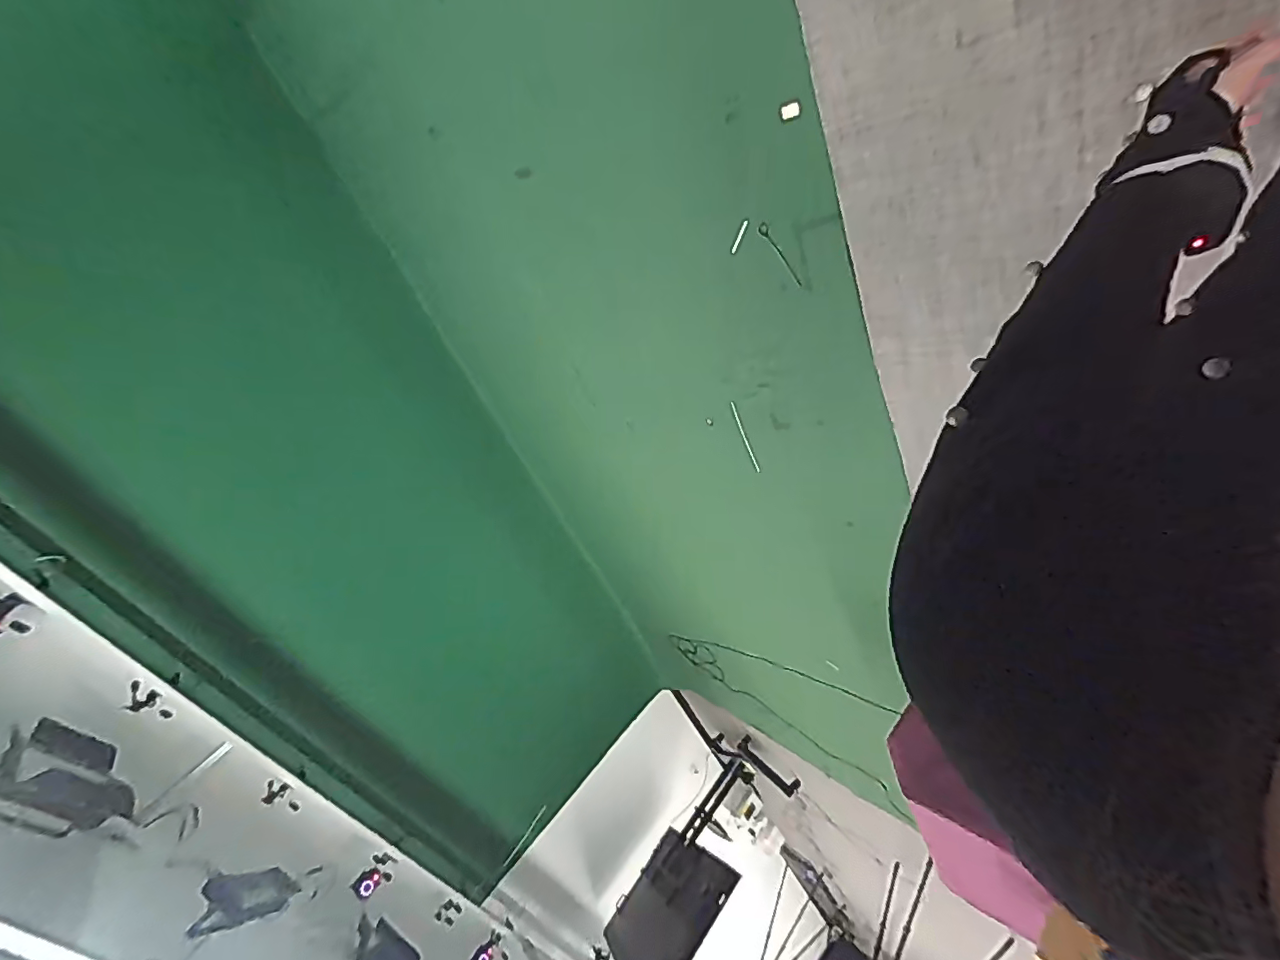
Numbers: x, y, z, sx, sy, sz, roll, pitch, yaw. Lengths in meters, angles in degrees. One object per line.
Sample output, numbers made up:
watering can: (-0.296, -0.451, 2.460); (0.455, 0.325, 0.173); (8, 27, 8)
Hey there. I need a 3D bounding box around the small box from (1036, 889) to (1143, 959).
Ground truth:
small box: (1.113, 1.174, 1.339); (0.179, 0.176, 0.168); (13, 138, 49)
